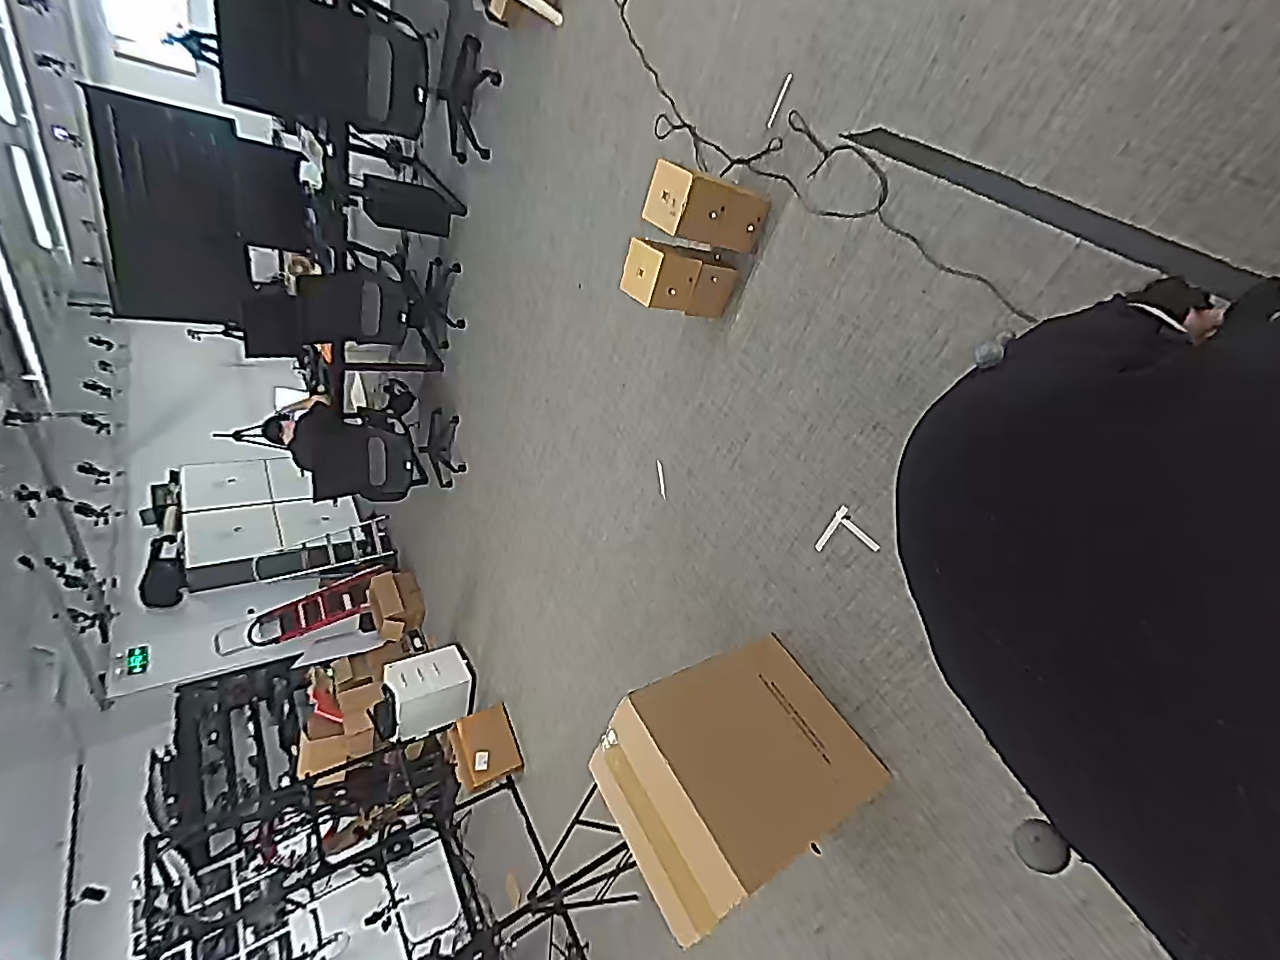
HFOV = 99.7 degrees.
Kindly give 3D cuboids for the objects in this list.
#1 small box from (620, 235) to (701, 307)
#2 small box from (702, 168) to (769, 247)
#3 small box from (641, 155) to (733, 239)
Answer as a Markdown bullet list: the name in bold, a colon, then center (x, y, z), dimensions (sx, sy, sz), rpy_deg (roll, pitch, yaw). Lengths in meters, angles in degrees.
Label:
- **small box**: center (0.066, -0.662, 1.725), dimensions (0.179, 0.176, 0.168), rpy_deg (47, 131, 38)
- **small box**: center (0.267, -0.847, 1.693), dimensions (0.179, 0.176, 0.168), rpy_deg (50, 133, 33)
- **small box**: center (0.138, -0.827, 1.592), dimensions (0.179, 0.176, 0.168), rpy_deg (49, 133, 35)
